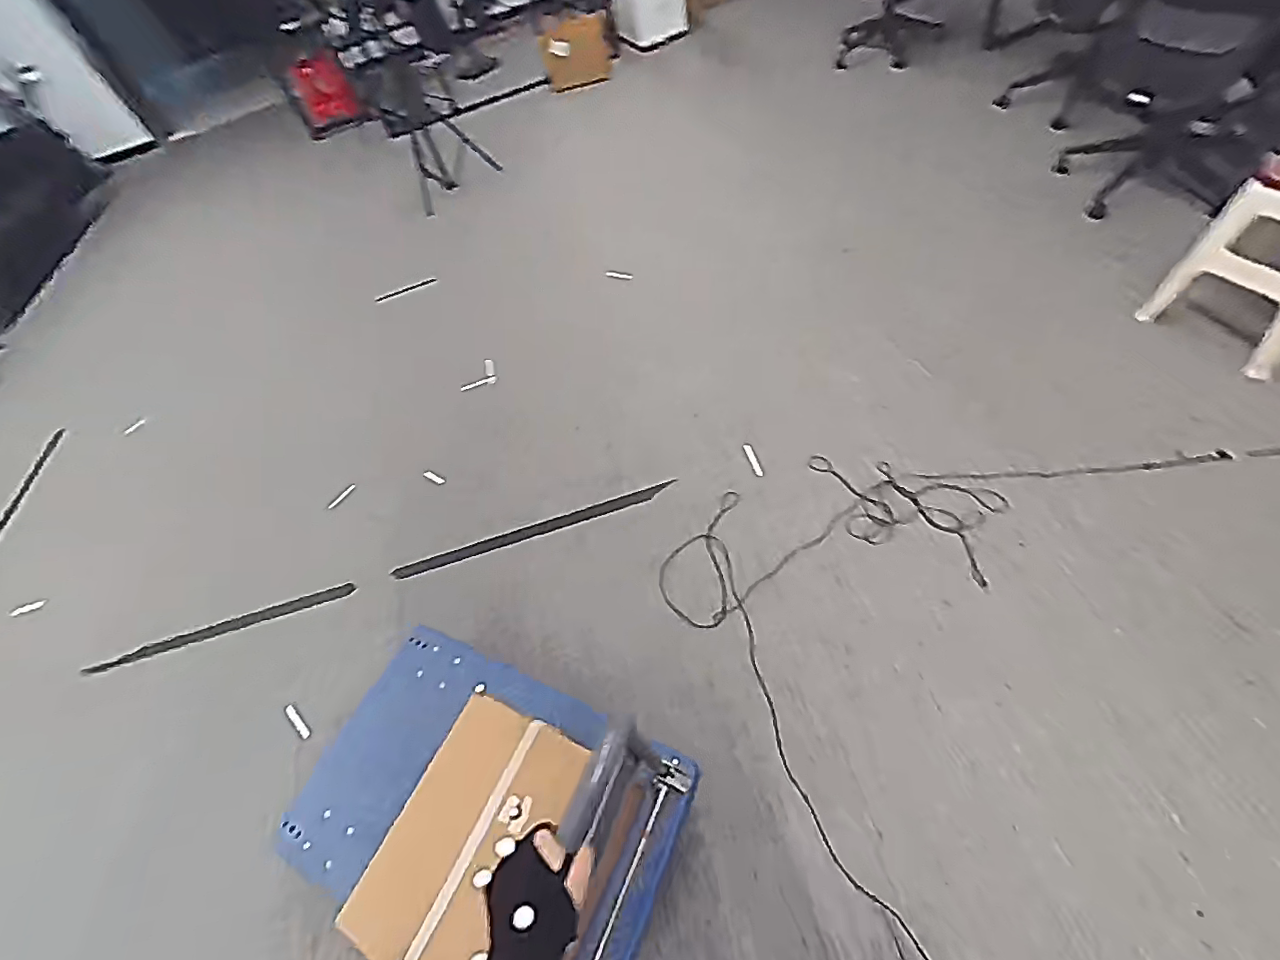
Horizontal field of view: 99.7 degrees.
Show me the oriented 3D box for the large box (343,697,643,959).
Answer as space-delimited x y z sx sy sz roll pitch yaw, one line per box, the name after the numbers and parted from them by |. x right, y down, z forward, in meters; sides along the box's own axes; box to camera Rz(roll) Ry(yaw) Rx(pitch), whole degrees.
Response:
-0.238 0.701 1.018 0.320 0.320 0.408 16 59 24 | large box
